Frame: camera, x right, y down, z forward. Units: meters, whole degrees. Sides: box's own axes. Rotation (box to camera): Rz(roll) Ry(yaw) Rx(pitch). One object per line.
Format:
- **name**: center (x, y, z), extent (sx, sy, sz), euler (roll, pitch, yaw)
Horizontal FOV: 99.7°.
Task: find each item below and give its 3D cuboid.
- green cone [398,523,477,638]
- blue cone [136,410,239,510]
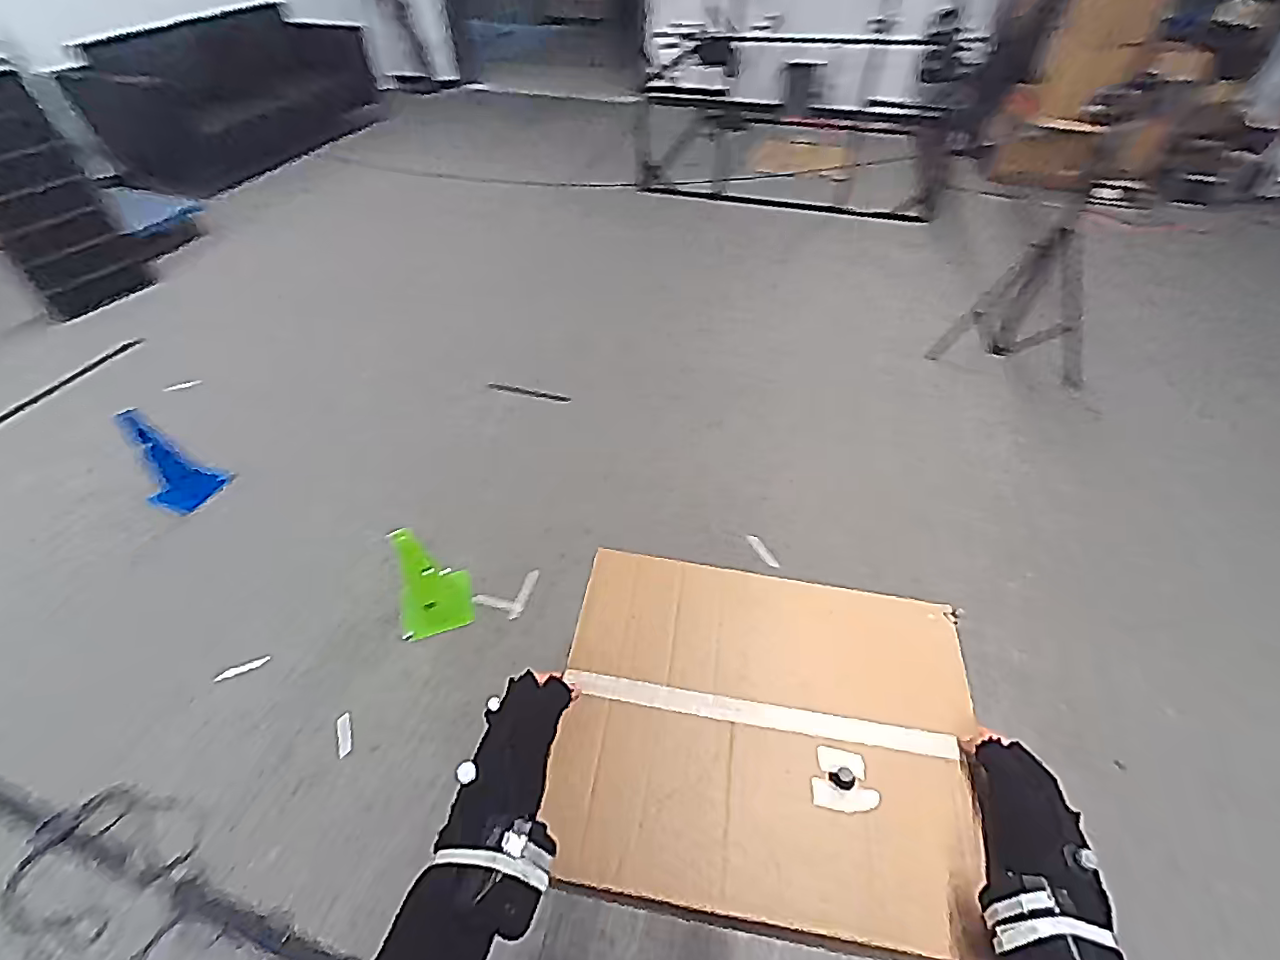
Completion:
- **green cone**: center (-0.612, 0.258, 1.547), extent (0.200, 0.368, 0.202), euler (-14, 47, -14)
- **blue cone**: center (-1.633, -0.083, 1.896), extent (0.193, 0.380, 0.192), euler (16, 48, 14)
